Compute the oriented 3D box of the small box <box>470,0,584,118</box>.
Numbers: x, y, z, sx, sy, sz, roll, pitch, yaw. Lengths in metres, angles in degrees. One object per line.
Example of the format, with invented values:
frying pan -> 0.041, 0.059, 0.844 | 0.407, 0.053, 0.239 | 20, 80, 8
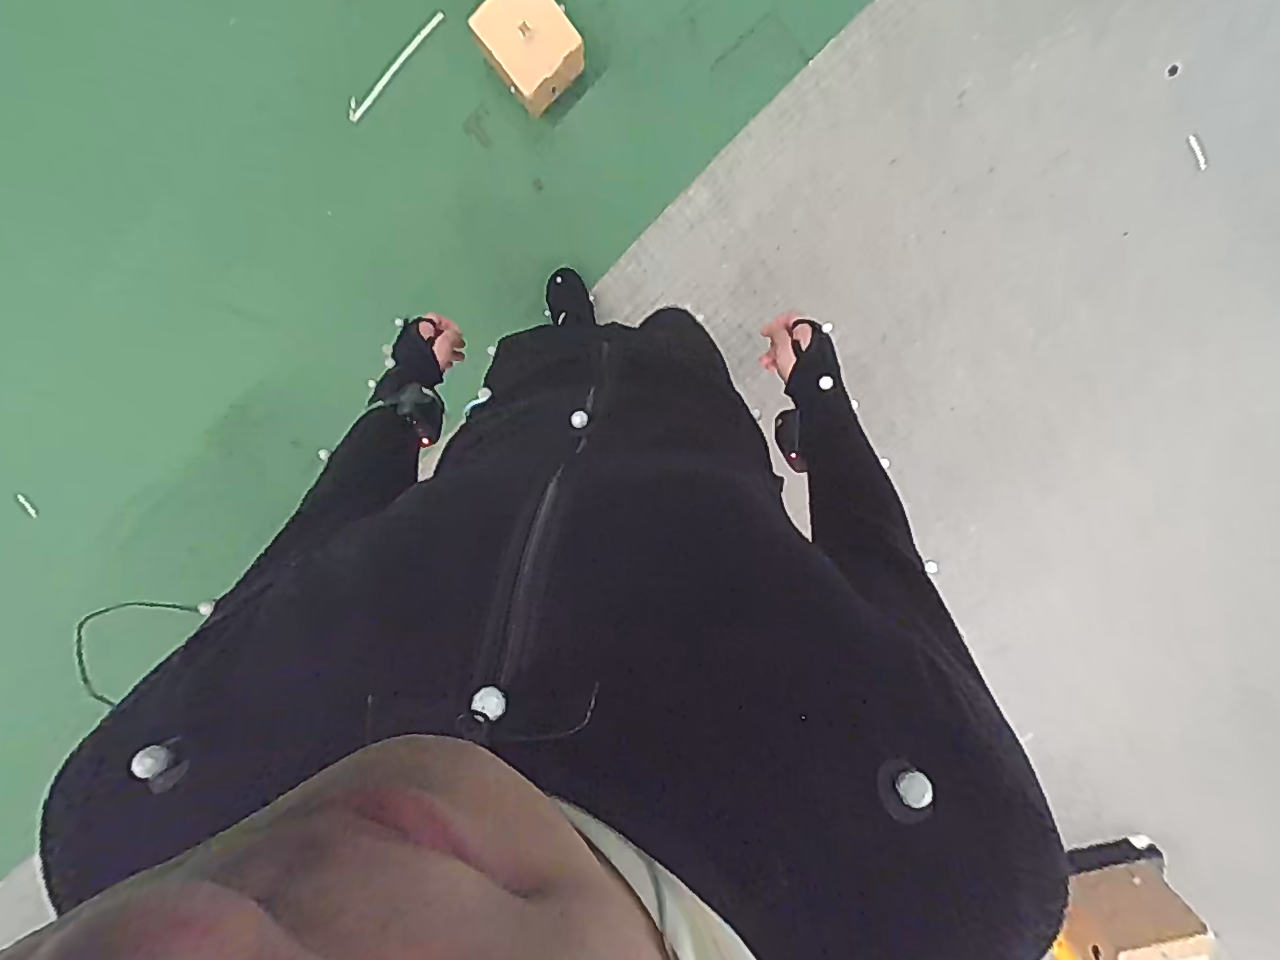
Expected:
small box -> -0.243, -0.950, 1.197 | 0.168, 0.176, 0.179 | -41, 110, 10
